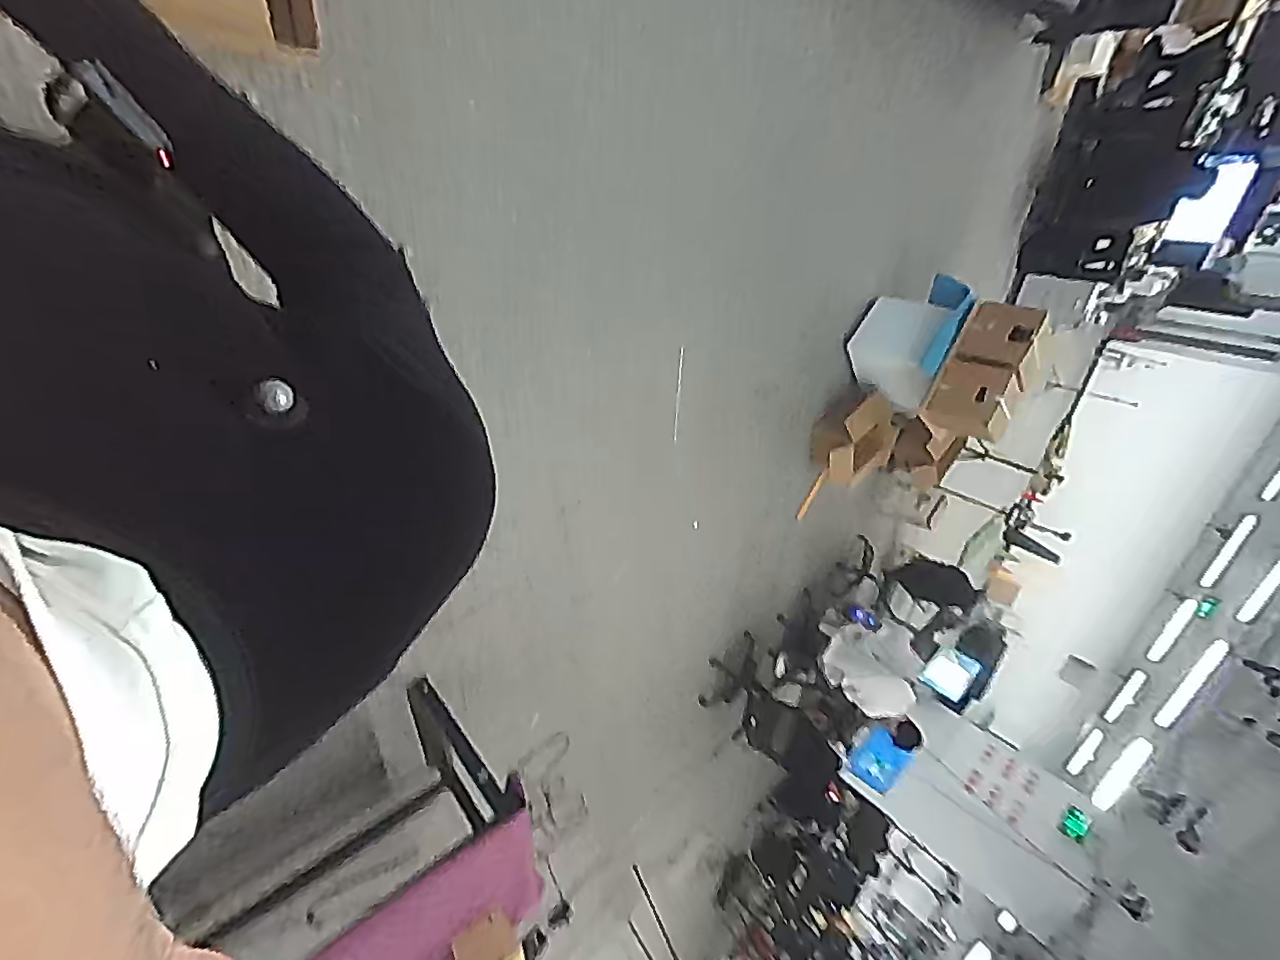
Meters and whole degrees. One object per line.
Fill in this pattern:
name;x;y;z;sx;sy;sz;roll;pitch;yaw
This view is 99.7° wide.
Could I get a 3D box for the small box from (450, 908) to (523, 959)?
small box;-0.485;1.516;1.712;0.168;0.176;0.179;-22;128;-36
